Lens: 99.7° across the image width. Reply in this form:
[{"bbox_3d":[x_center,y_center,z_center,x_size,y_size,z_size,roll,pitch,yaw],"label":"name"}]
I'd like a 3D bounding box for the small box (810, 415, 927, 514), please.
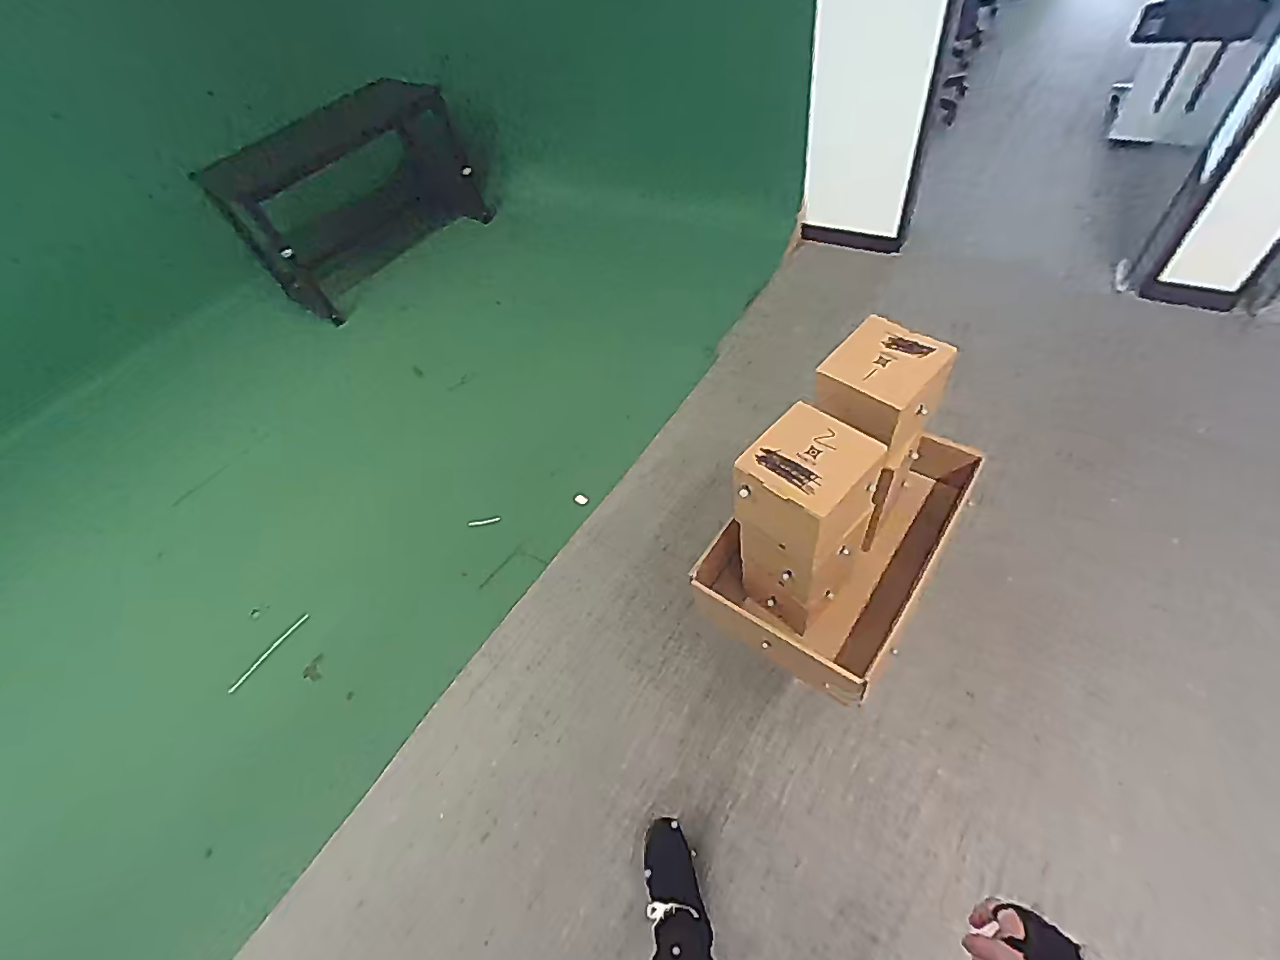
[{"bbox_3d":[0.467,-0.062,1.131,0.168,0.176,0.179,27,65,27],"label":"small box"}]

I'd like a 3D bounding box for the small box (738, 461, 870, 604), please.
[{"bbox_3d":[0.308,0.104,1.035,0.179,0.176,0.168,-39,56,-19],"label":"small box"}]

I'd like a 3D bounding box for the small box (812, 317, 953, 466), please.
[{"bbox_3d":[0.436,-0.162,1.004,0.179,0.176,0.168,-43,57,-17],"label":"small box"}]

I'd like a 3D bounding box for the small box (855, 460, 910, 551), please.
[{"bbox_3d":[0.498,0.031,1.260,0.168,0.176,0.179,26,64,29],"label":"small box"}]
